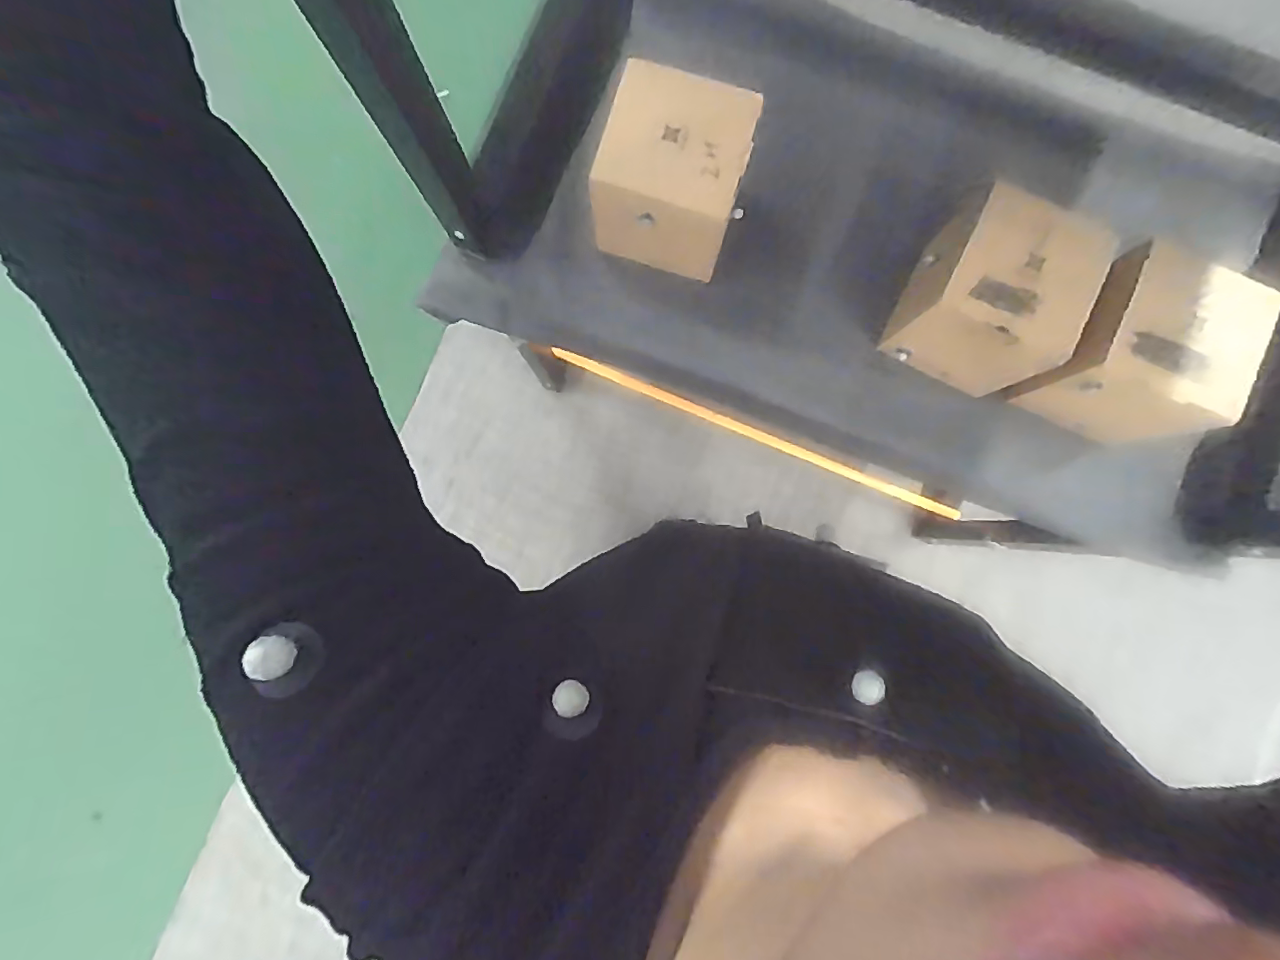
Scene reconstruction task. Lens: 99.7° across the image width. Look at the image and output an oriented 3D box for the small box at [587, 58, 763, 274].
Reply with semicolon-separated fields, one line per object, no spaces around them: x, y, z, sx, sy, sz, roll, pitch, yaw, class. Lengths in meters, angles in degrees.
0.042;-0.405;0.727;0.179;0.176;0.168;18;86;1;small box
